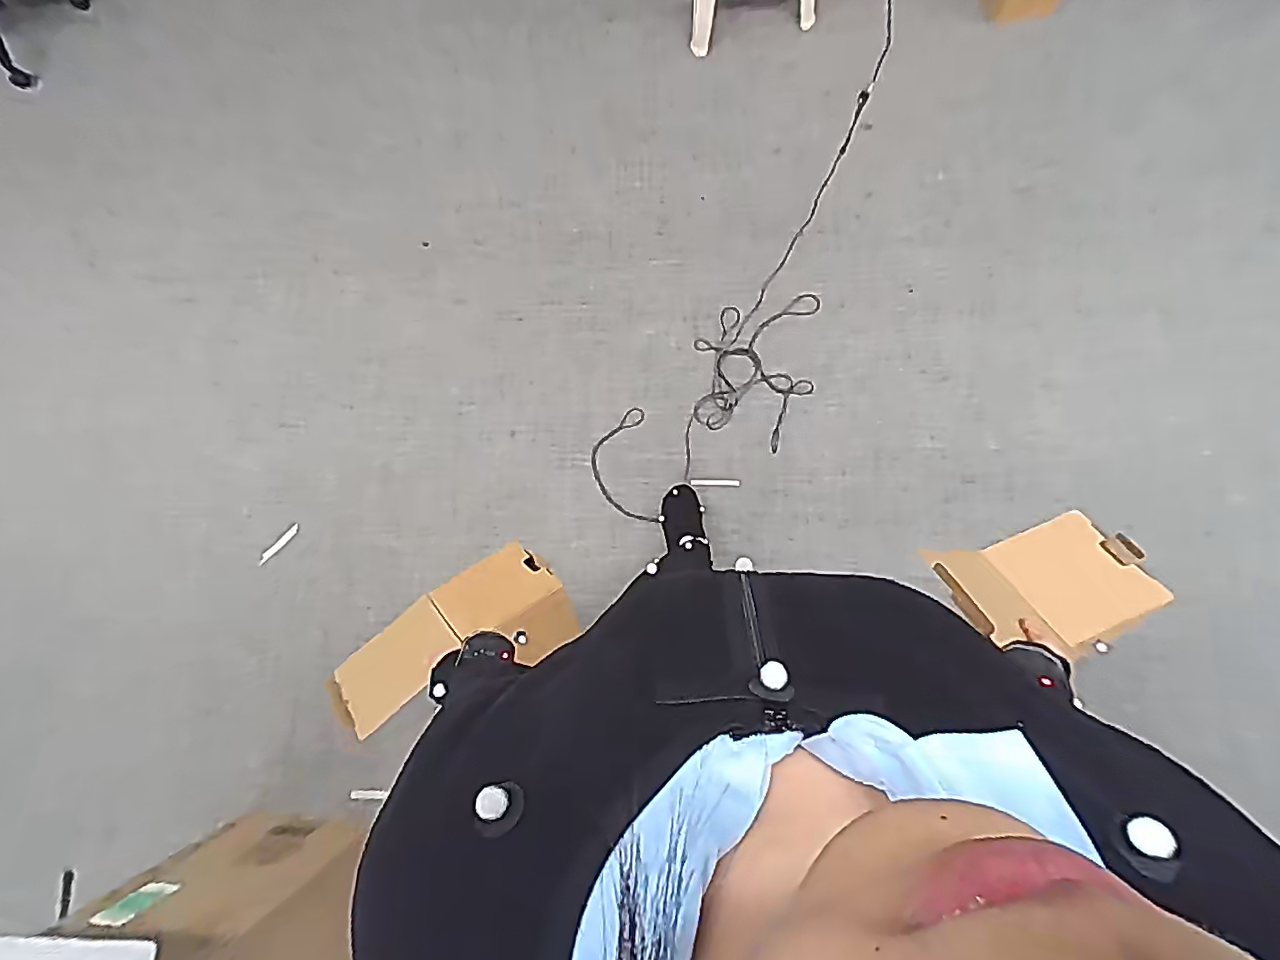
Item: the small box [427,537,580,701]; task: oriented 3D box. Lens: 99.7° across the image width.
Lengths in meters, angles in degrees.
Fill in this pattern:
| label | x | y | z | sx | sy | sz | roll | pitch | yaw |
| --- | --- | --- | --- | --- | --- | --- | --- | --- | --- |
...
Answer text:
| label | x | y | z | sx | sy | sz | roll | pitch | yaw |
| --- | --- | --- | --- | --- | --- | --- | --- | --- | --- |
| small box | -0.226 | 0.235 | 0.921 | 0.179 | 0.176 | 0.168 | -31 | 38 | -28 |
